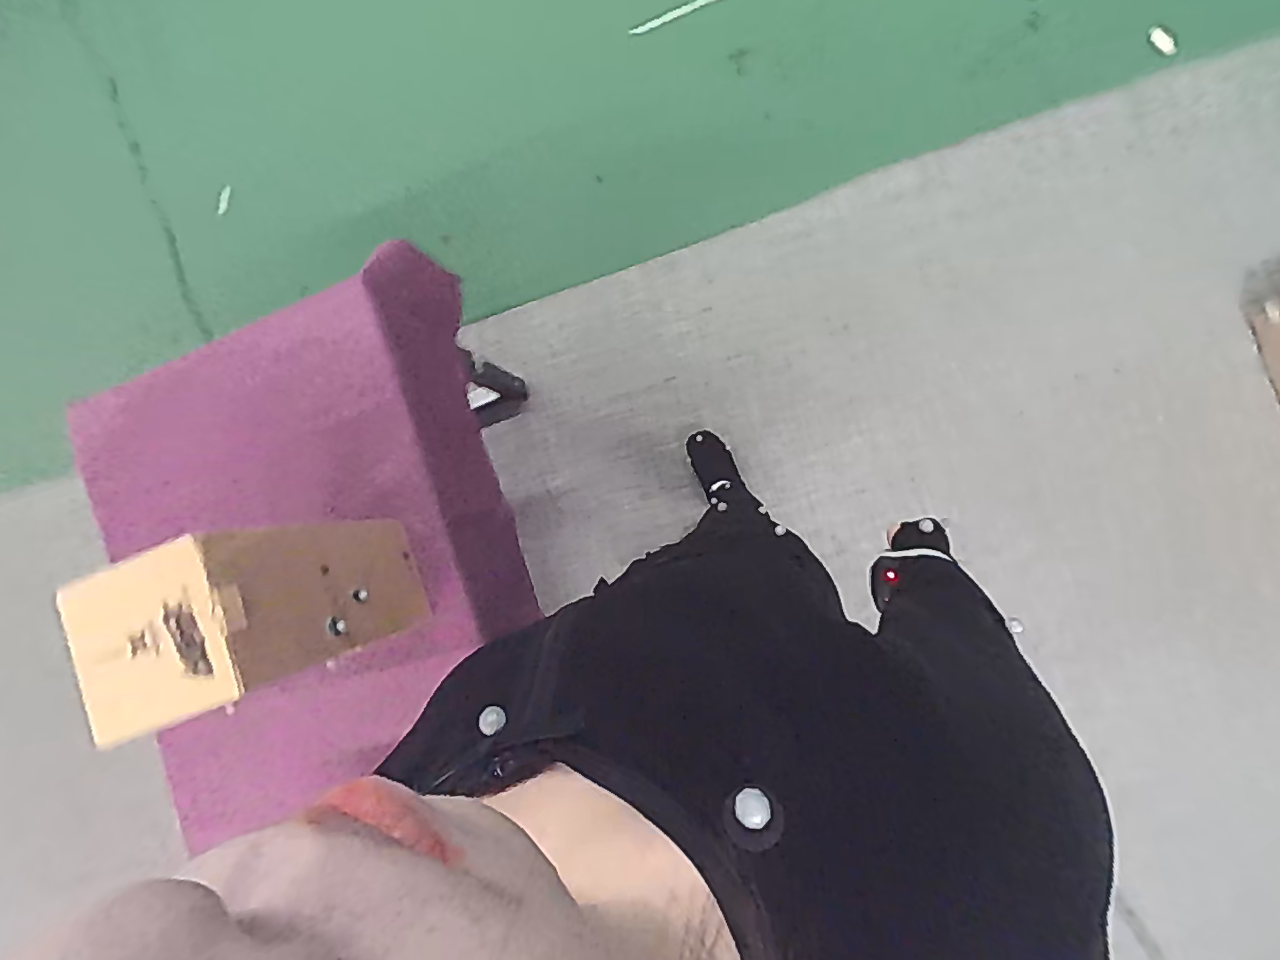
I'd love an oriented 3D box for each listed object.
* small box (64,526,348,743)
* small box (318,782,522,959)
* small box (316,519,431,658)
[{"bbox_3d":[-0.465,0.158,0.611,0.179,0.176,0.168,-21,85,9],"label":"small box"},{"bbox_3d":[-0.290,0.554,0.743,0.179,0.176,0.168,-20,86,8],"label":"small box"},{"bbox_3d":[-0.438,0.162,0.773,0.179,0.176,0.168,-21,87,9],"label":"small box"}]
